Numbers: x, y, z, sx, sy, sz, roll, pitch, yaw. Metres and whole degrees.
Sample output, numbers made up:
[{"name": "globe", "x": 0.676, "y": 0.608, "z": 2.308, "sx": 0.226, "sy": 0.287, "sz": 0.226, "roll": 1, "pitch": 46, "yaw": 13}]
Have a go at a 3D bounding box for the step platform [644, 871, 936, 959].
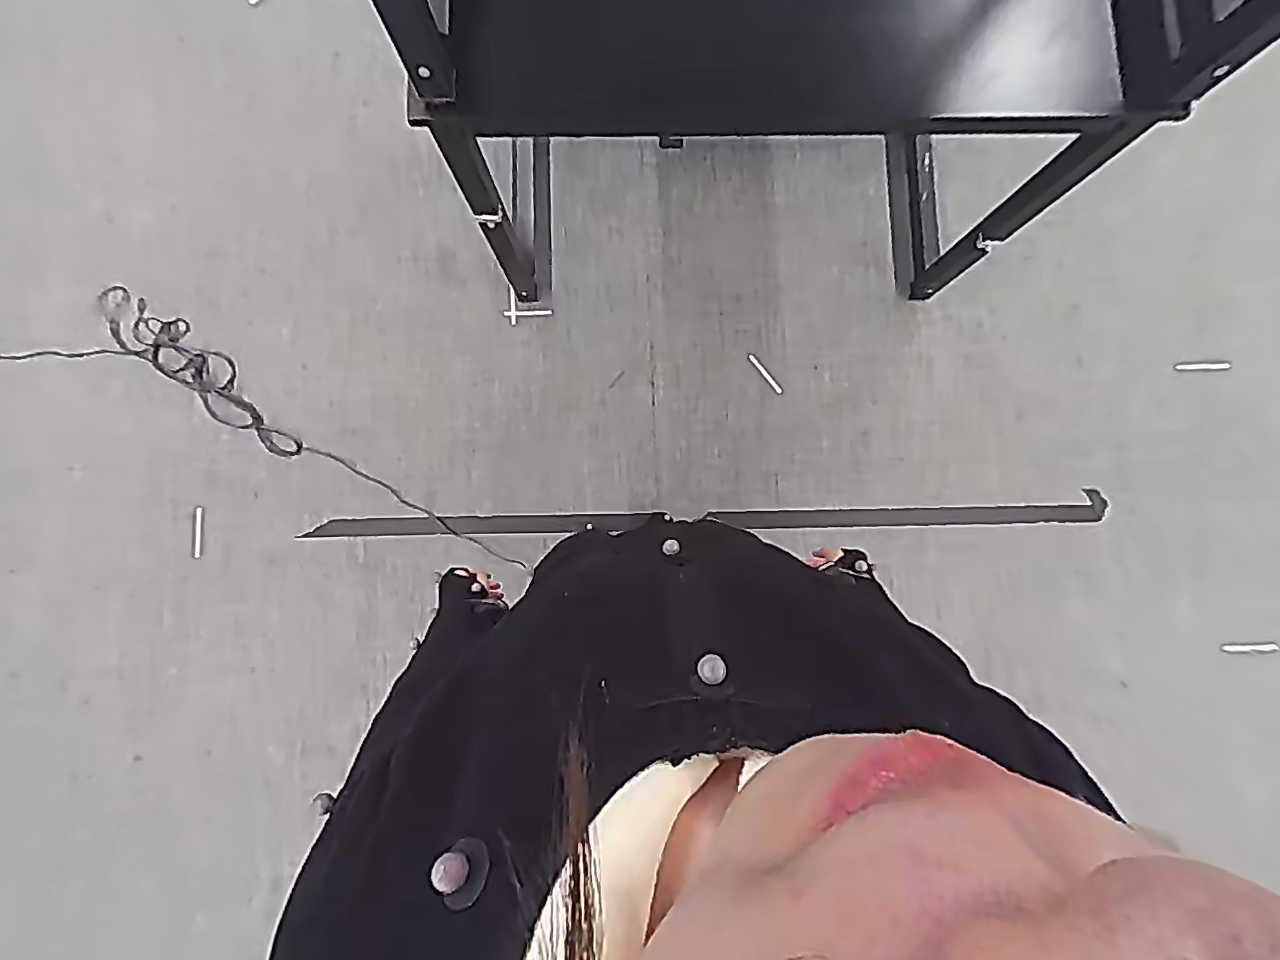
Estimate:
[{"name": "step platform", "x": 0.355, "y": 1.185, "z": 1.323, "sx": 0.684, "sy": 0.204, "sz": 0.286, "roll": 4, "pitch": 85, "yaw": -1}]
